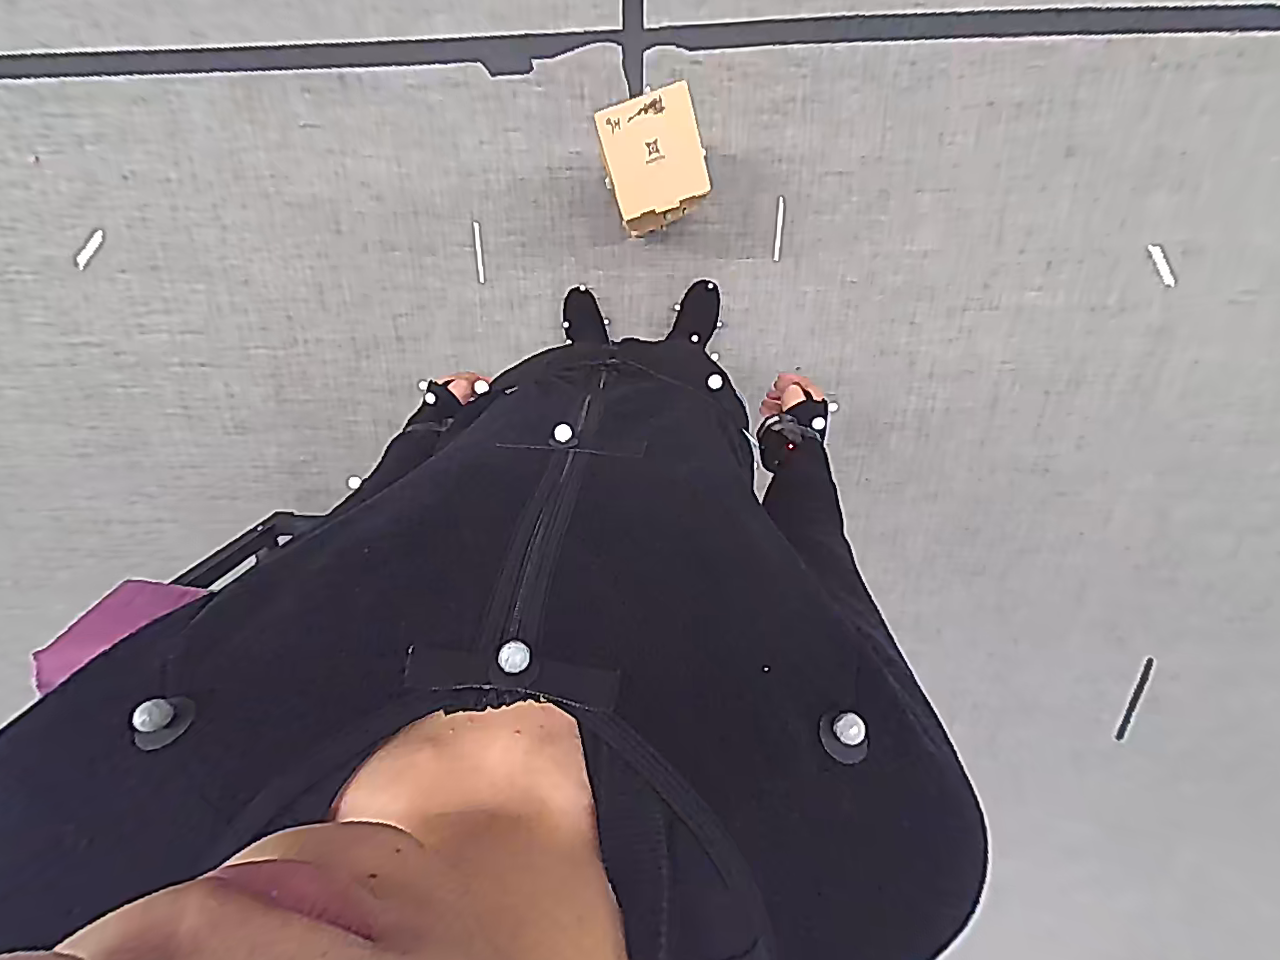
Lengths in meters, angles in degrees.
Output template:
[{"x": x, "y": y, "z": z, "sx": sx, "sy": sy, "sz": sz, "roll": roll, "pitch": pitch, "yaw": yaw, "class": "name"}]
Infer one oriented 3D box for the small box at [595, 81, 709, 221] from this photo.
[{"x": 0.027, "y": -0.601, "z": 1.012, "sx": 0.168, "sy": 0.176, "sz": 0.179, "roll": -15, "pitch": 112, "yaw": 8, "class": "small box"}]
